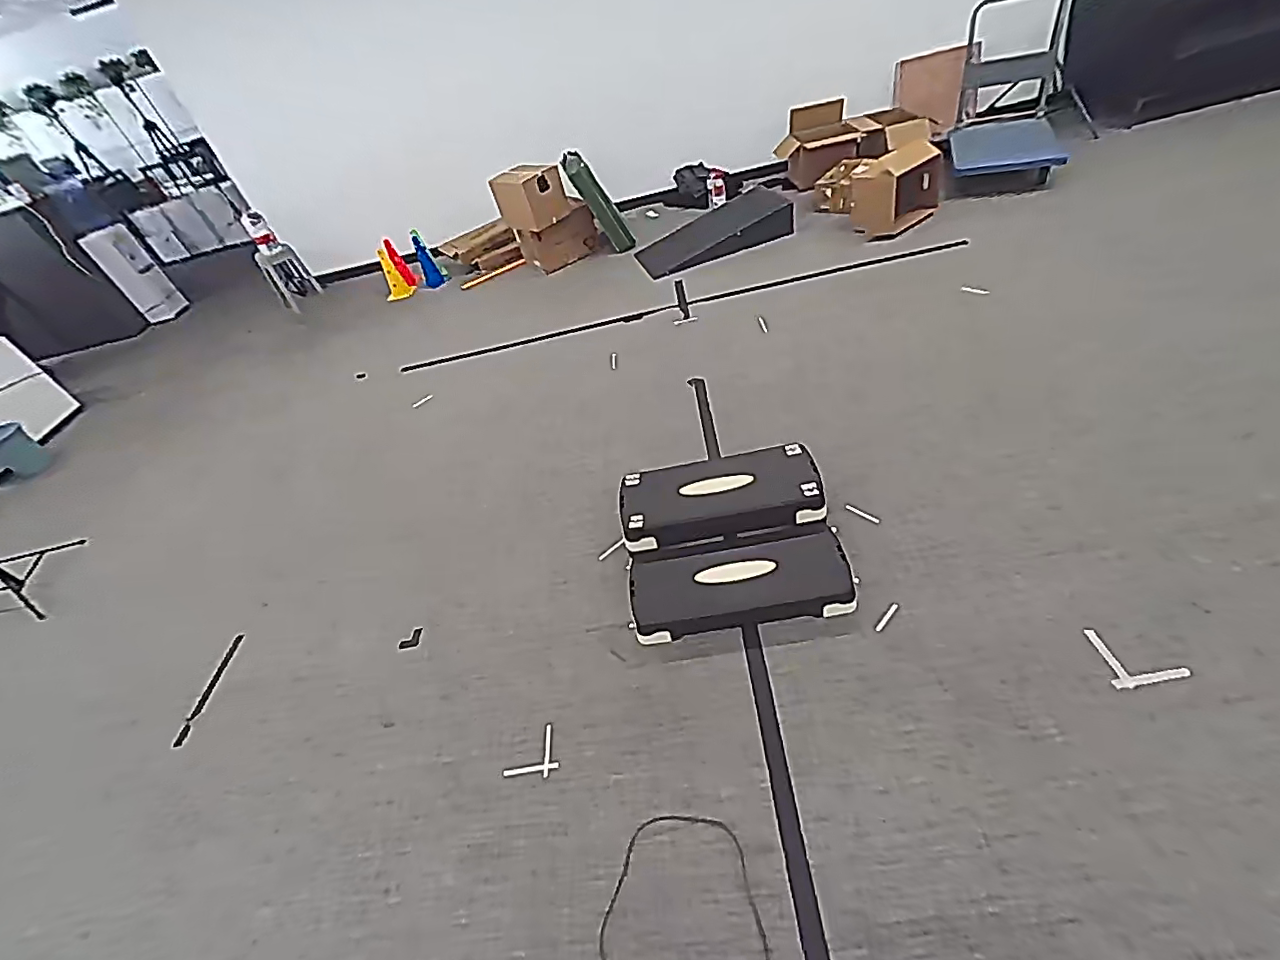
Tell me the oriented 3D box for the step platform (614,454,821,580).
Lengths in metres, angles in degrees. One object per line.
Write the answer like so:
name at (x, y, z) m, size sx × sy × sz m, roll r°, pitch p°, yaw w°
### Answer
step platform at (0.254, 0.120, 1.846) m, size 0.684 × 0.204 × 0.286 m, roll -11°, pitch 43°, yaw 5°
